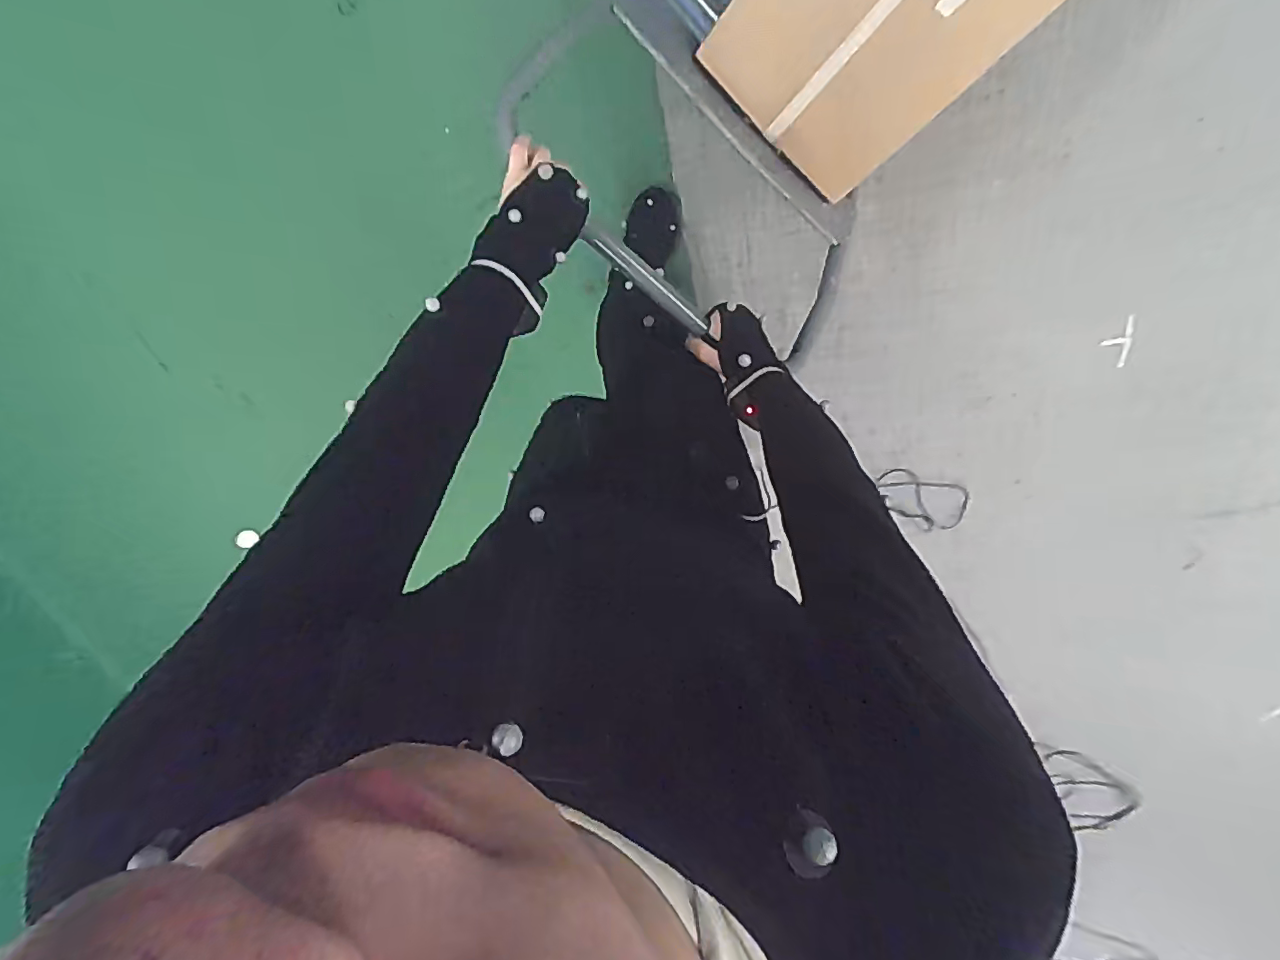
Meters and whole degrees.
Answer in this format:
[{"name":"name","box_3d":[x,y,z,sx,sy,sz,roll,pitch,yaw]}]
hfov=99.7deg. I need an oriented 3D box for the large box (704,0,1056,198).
[{"name":"large box","box_3d":[0.363,-0.733,0.800,0.320,0.320,0.408,36,140,-19]}]
